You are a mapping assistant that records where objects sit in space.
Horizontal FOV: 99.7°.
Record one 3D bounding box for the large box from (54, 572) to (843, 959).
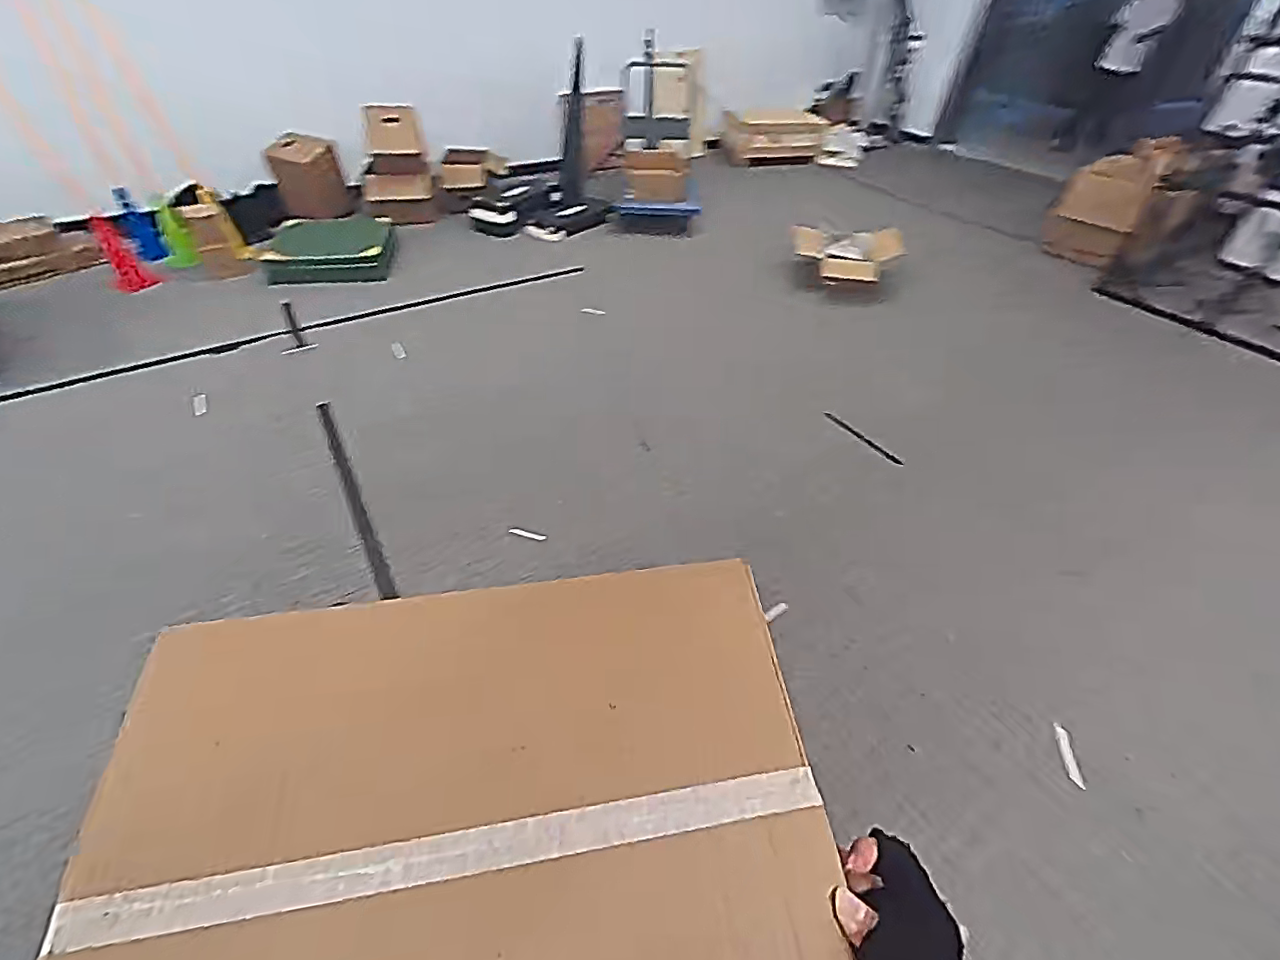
[{"bbox_3d":[-0.107,0.303,0.424,0.408,0.320,0.320,-7,54,-8],"label":"large box"}]
